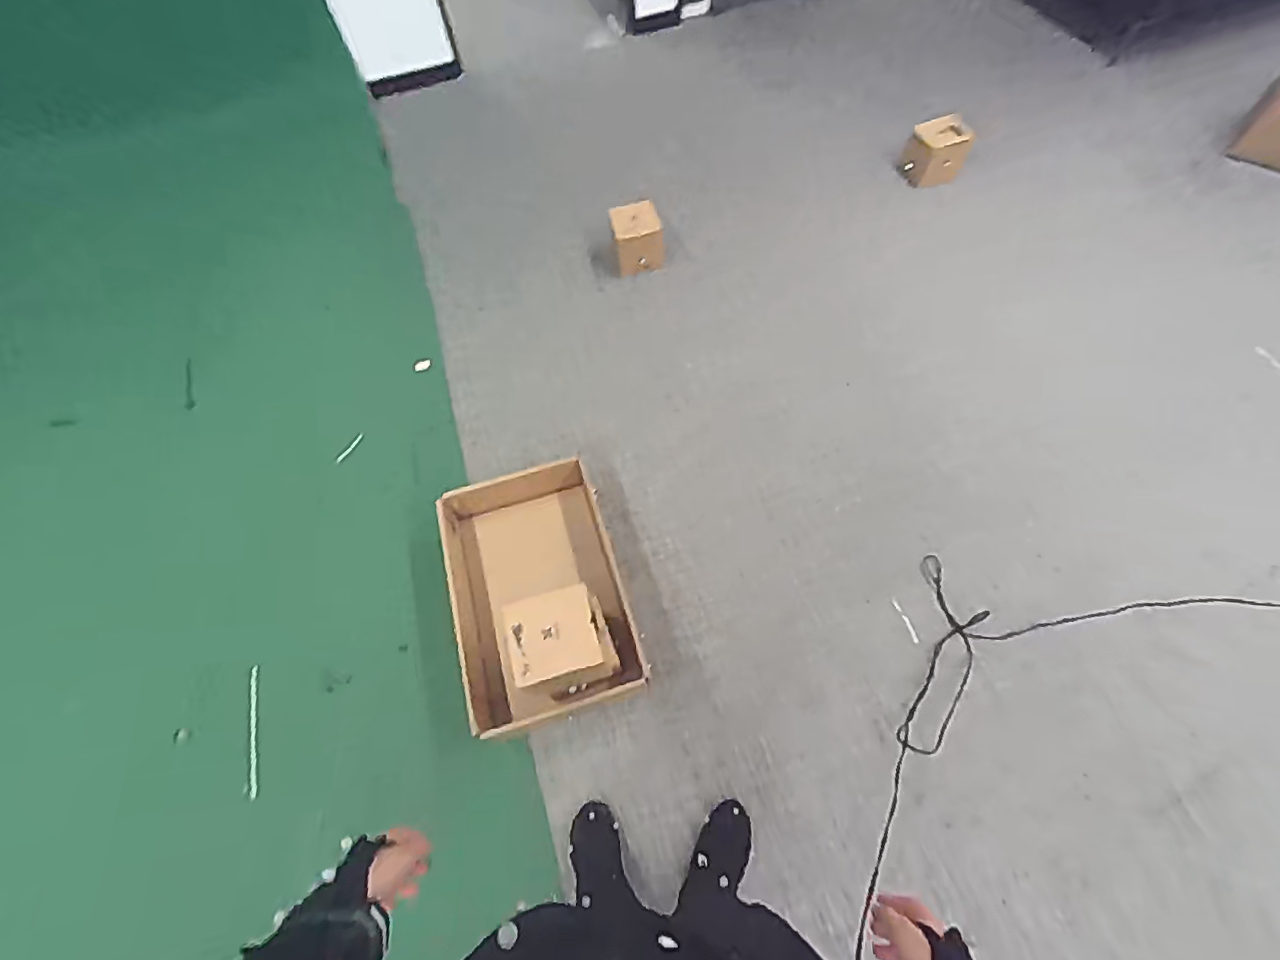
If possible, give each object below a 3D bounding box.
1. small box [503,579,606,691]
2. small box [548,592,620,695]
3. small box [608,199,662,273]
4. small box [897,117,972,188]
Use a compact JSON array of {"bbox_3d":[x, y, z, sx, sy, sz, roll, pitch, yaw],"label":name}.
[{"bbox_3d":[-0.170,0.326,1.123,0.179,0.176,0.168,-15,63,-6],"label":"small box"},{"bbox_3d":[-0.156,0.391,1.273,0.179,0.176,0.168,-19,63,-9],"label":"small box"},{"bbox_3d":[-0.018,-0.908,2.013,0.168,0.176,0.179,-14,62,-4],"label":"small box"},{"bbox_3d":[1.176,-1.312,2.173,0.179,0.176,0.168,-18,63,-6],"label":"small box"}]
